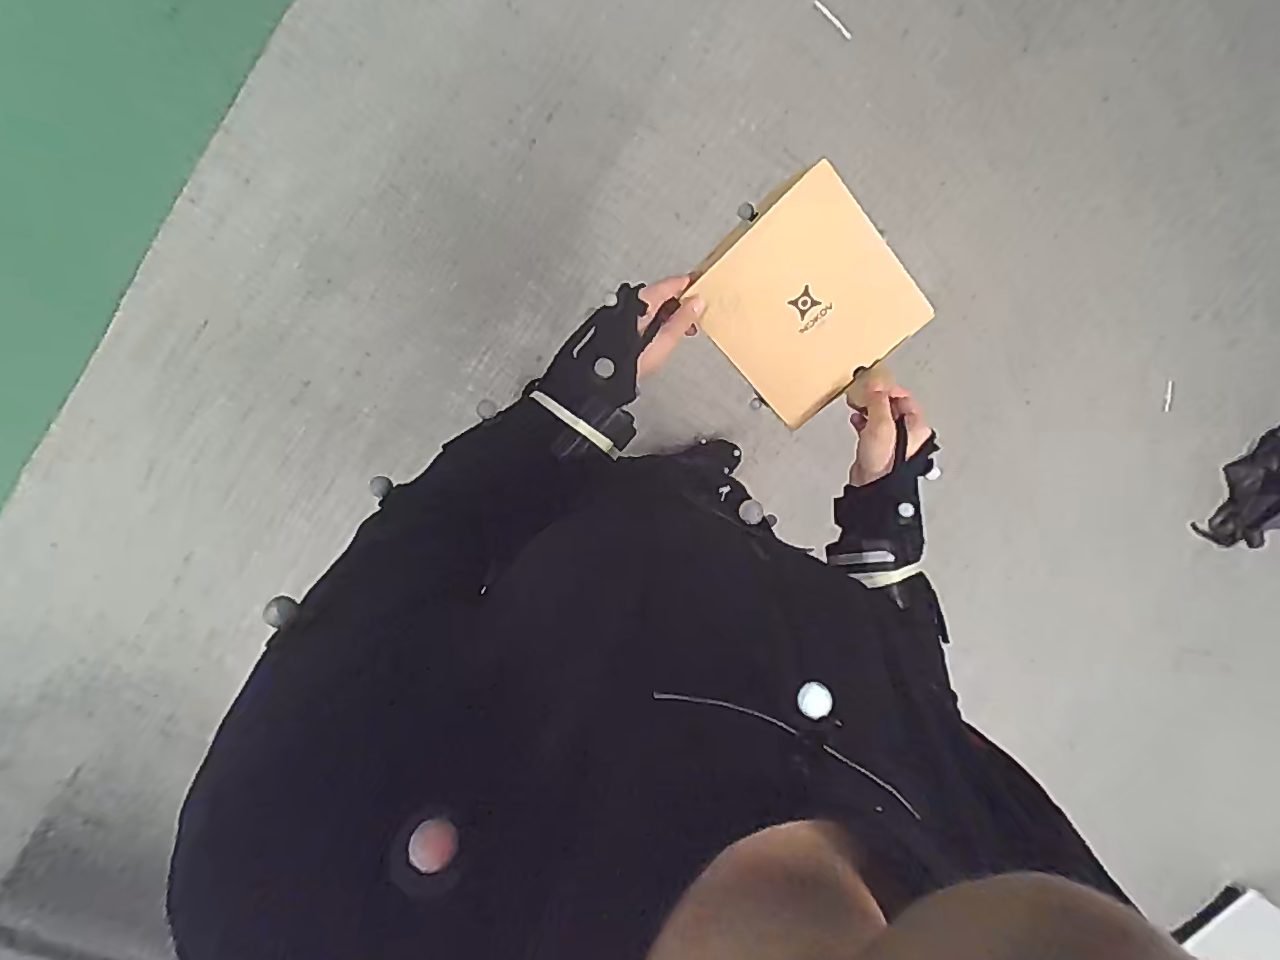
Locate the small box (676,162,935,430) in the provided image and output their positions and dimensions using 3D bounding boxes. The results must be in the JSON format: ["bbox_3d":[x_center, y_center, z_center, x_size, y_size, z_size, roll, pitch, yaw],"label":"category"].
[{"bbox_3d":[0.152,-0.185,0.564,0.168,0.176,0.179,-42,106,15],"label":"small box"}]
